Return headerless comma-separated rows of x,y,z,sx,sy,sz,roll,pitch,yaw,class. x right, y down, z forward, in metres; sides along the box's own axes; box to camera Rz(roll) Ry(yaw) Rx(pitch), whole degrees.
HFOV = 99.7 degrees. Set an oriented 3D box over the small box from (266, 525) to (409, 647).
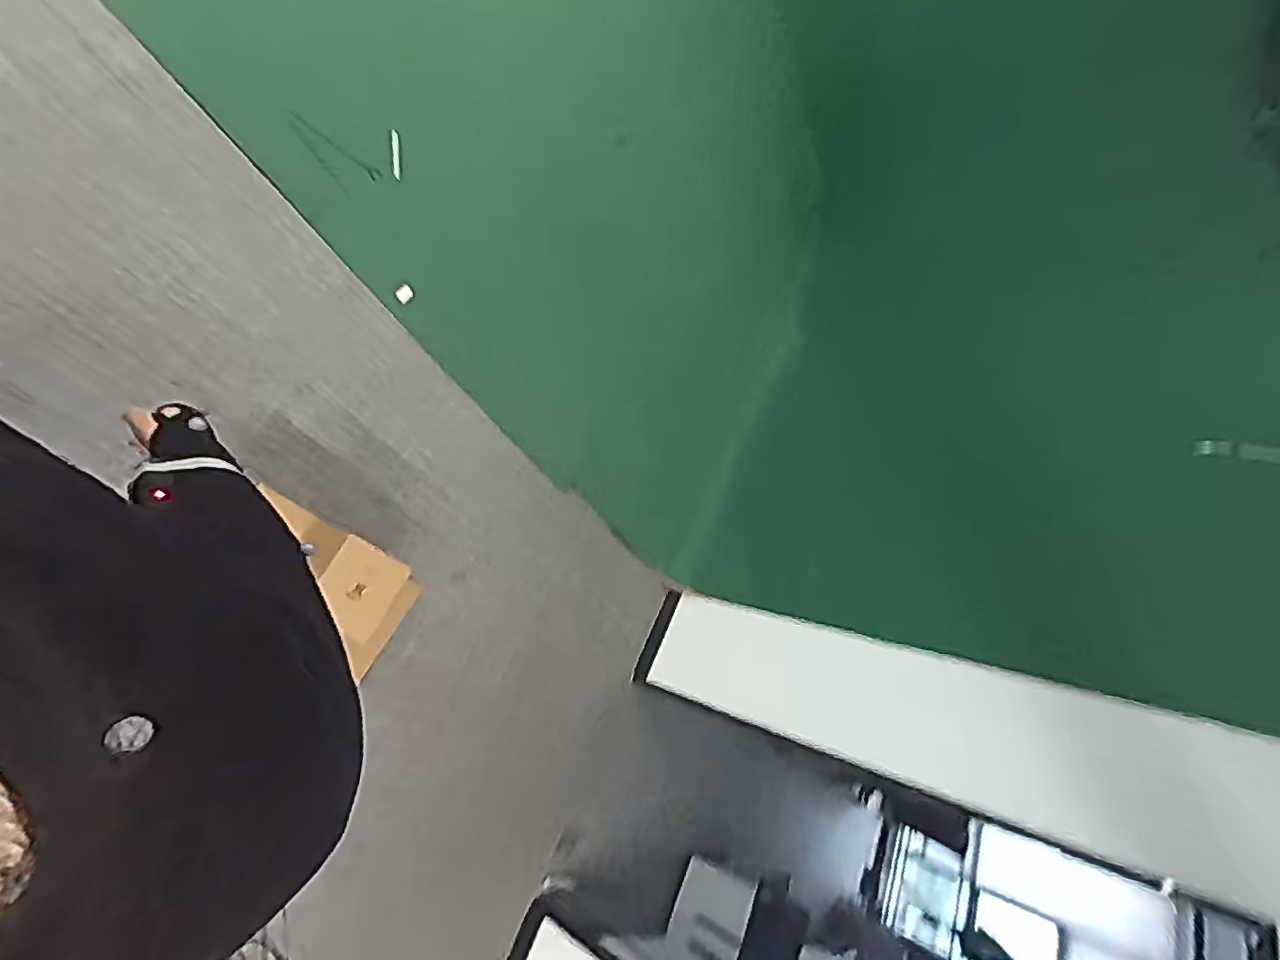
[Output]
-0.628,0.214,1.117,0.168,0.176,0.179,53,54,-45,small box
